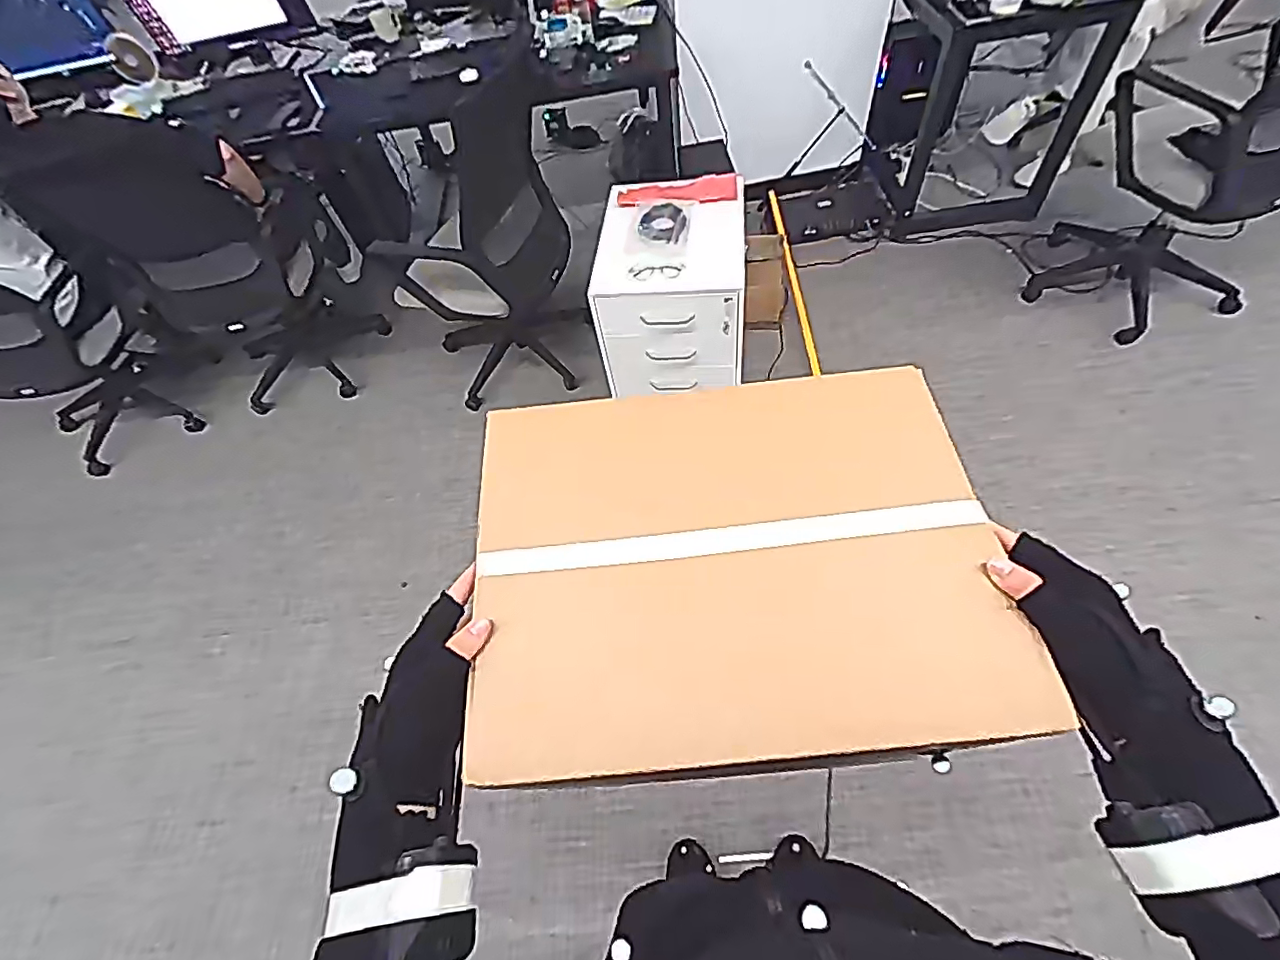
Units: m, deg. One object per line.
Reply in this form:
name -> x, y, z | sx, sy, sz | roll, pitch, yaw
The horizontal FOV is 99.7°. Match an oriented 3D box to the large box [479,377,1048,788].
large box -> 0.083, 0.129, 0.573 | 0.408, 0.320, 0.320 | -6, 59, 2
